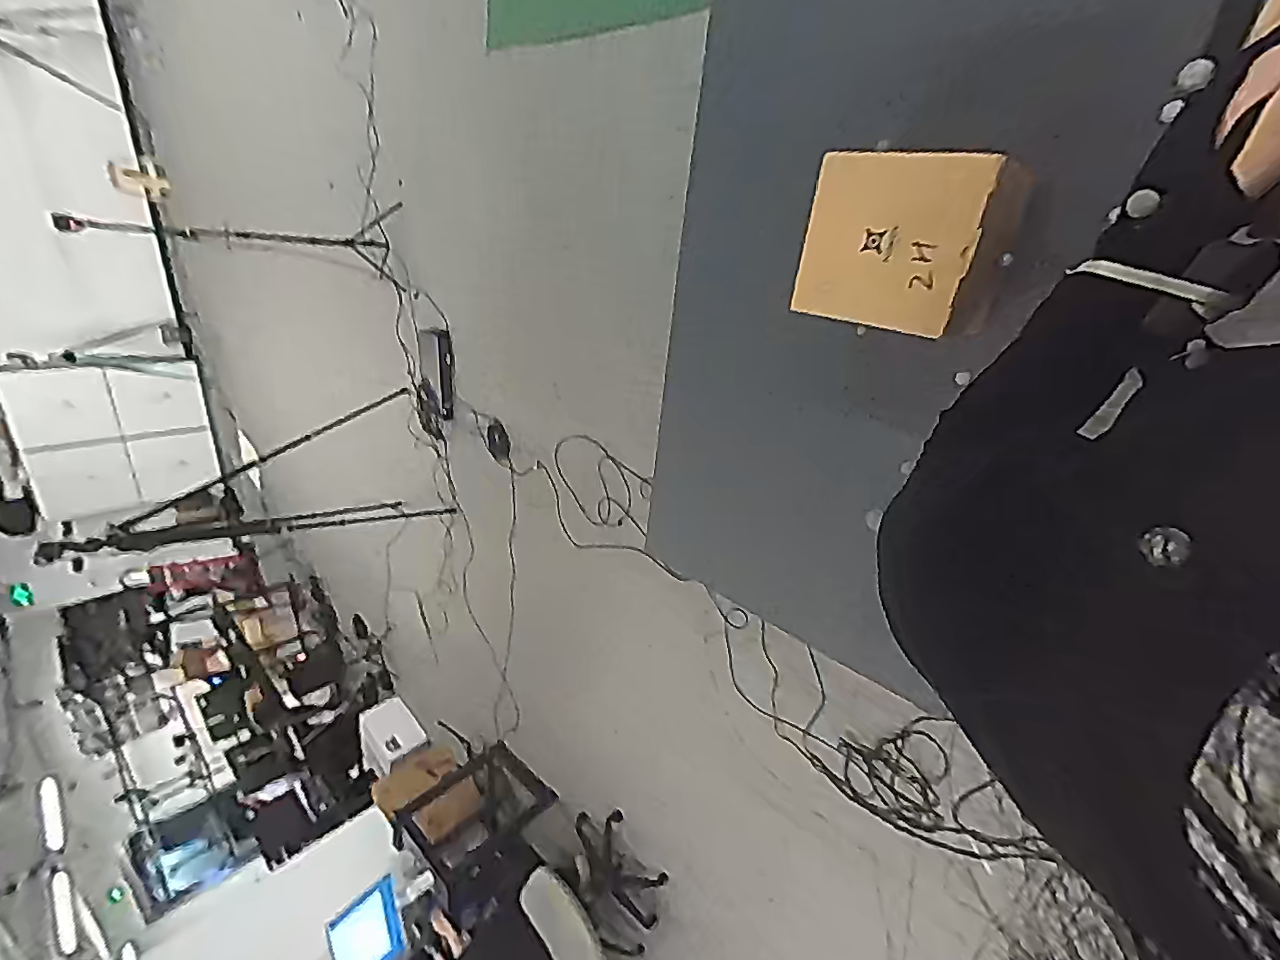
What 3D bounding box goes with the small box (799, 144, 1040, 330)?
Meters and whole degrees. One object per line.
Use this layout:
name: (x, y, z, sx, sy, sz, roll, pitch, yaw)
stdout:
small box: (0.313, -0.271, 0.614, 0.179, 0.176, 0.168, 25, 121, 36)
